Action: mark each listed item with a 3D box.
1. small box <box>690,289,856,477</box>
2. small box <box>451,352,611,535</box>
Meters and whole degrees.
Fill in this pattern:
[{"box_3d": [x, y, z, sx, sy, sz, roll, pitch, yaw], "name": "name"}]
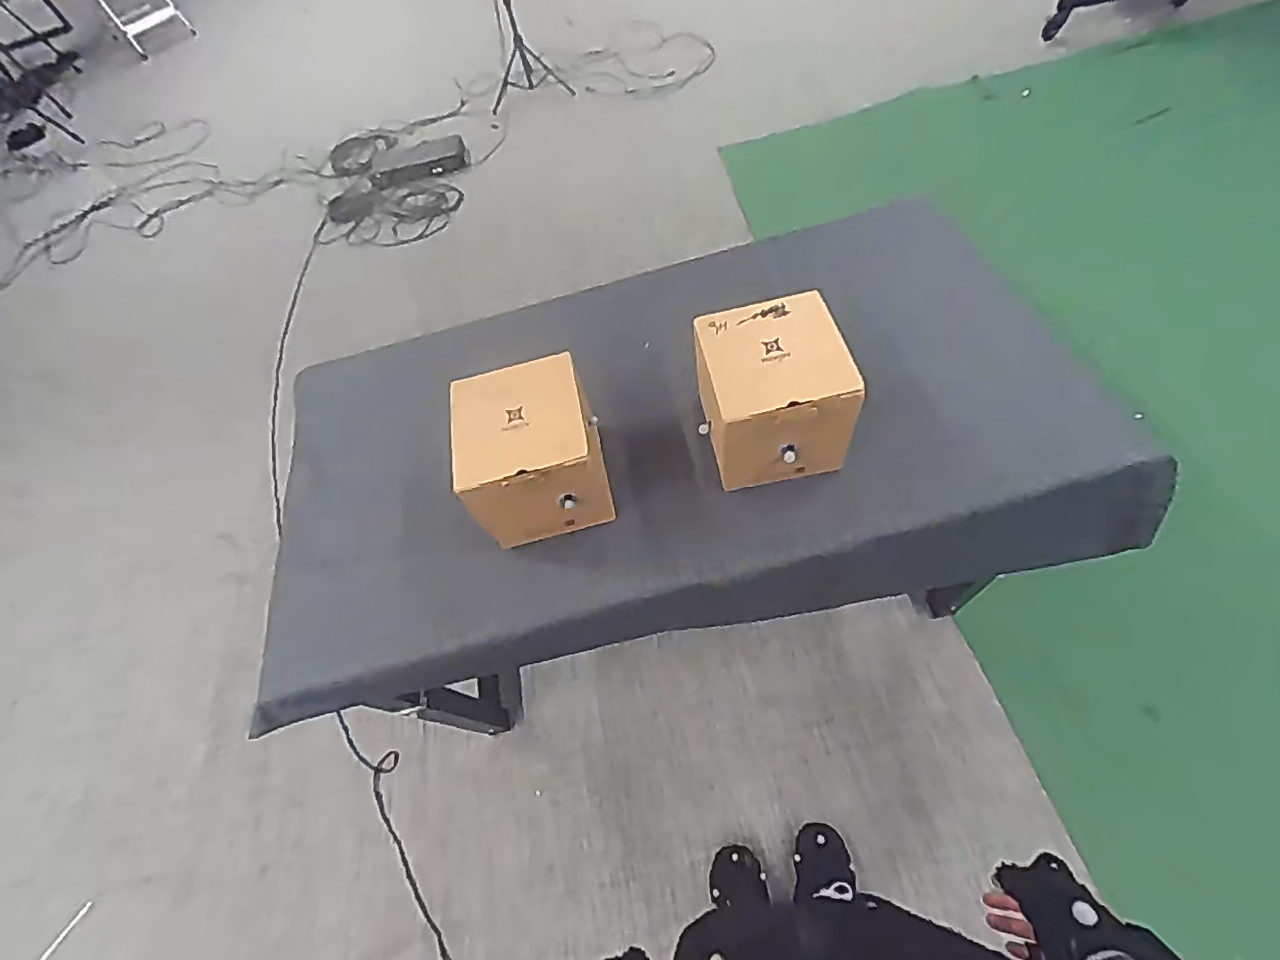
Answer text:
[{"box_3d": [0.170, -0.119, 0.729, 0.168, 0.176, 0.179, -12, 60, 4], "name": "small box"}, {"box_3d": [-0.144, -0.039, 0.746, 0.168, 0.176, 0.179, -15, 58, 1], "name": "small box"}]
